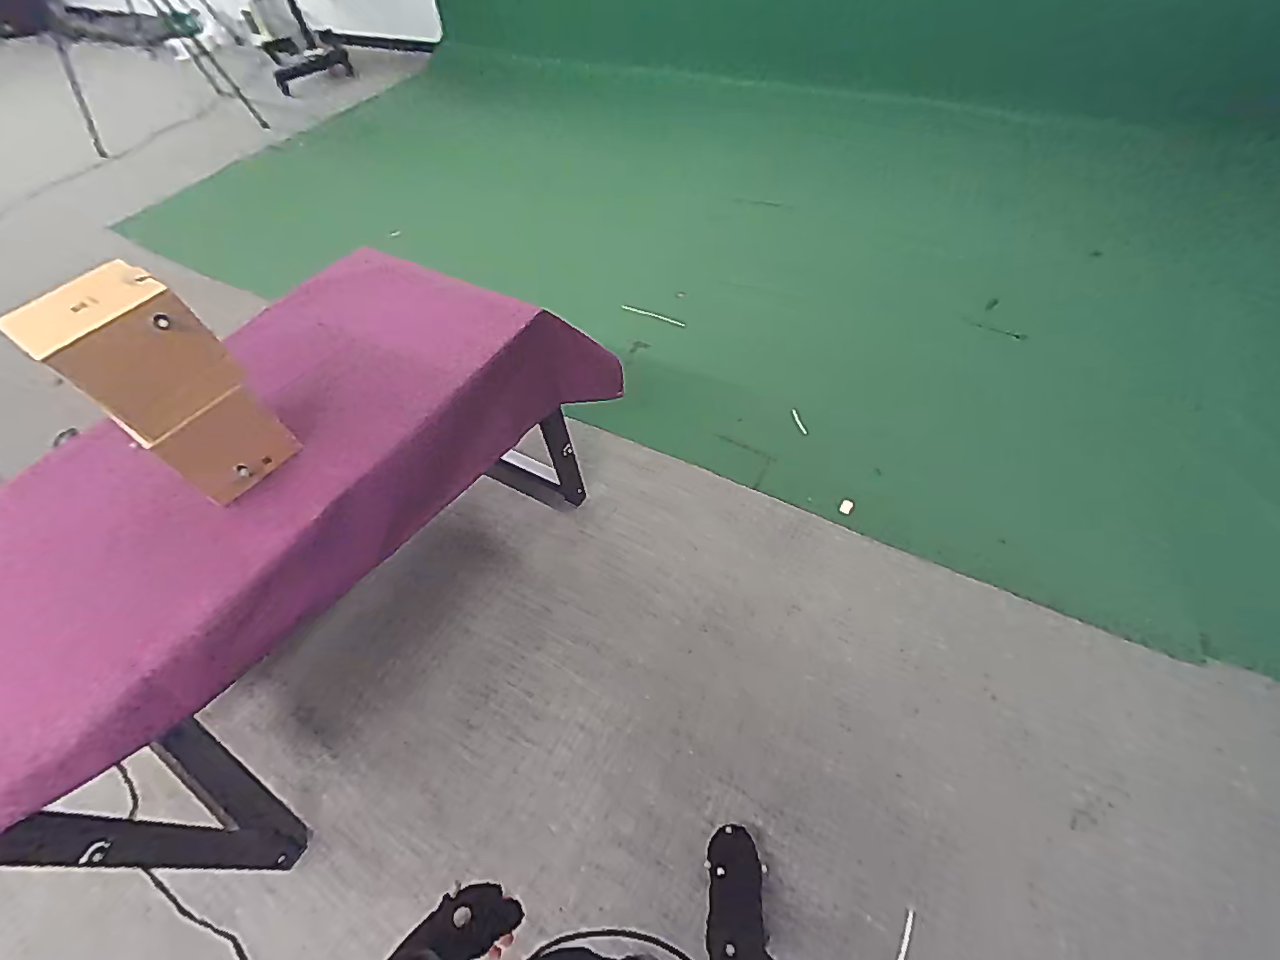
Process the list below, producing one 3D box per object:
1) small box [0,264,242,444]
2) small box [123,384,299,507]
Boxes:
[{"bbox_3d":[-0.755,-0.183,0.802,0.168,0.176,0.179,27,61,23],"label":"small box"},{"bbox_3d":[-0.743,-0.082,0.928,0.179,0.176,0.168,28,62,23],"label":"small box"}]
